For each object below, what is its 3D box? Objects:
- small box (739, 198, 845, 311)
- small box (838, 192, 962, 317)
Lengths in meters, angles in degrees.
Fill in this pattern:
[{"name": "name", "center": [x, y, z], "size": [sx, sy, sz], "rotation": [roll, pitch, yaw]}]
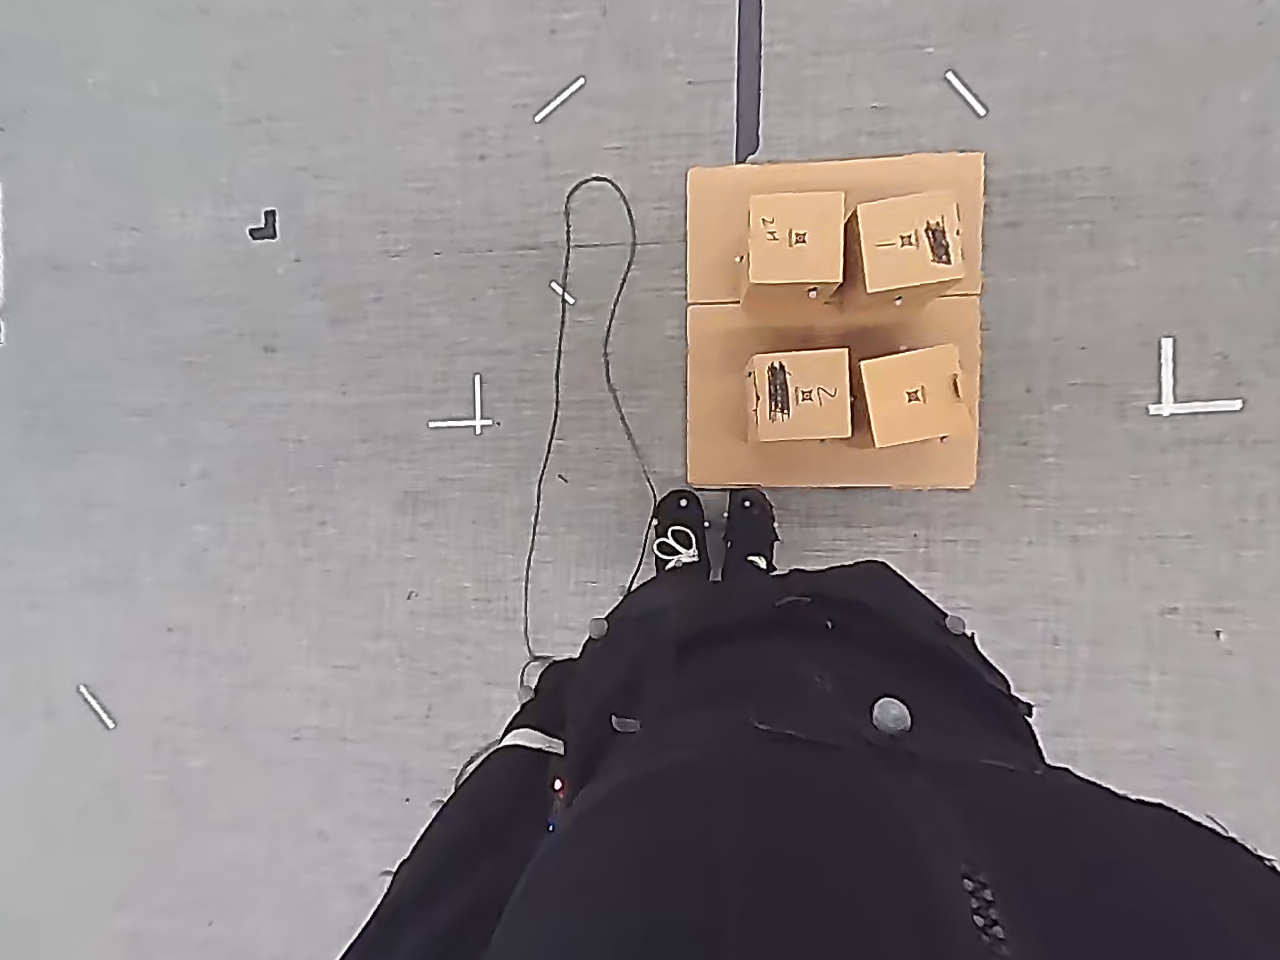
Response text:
[{"name": "small box", "center": [0.299, -0.447, 1.092], "size": [0.179, 0.176, 0.168], "rotation": [1, 92, 6]}, {"name": "small box", "center": [0.500, -0.435, 1.069], "size": [0.179, 0.176, 0.168], "rotation": [-7, 91, 7]}]
